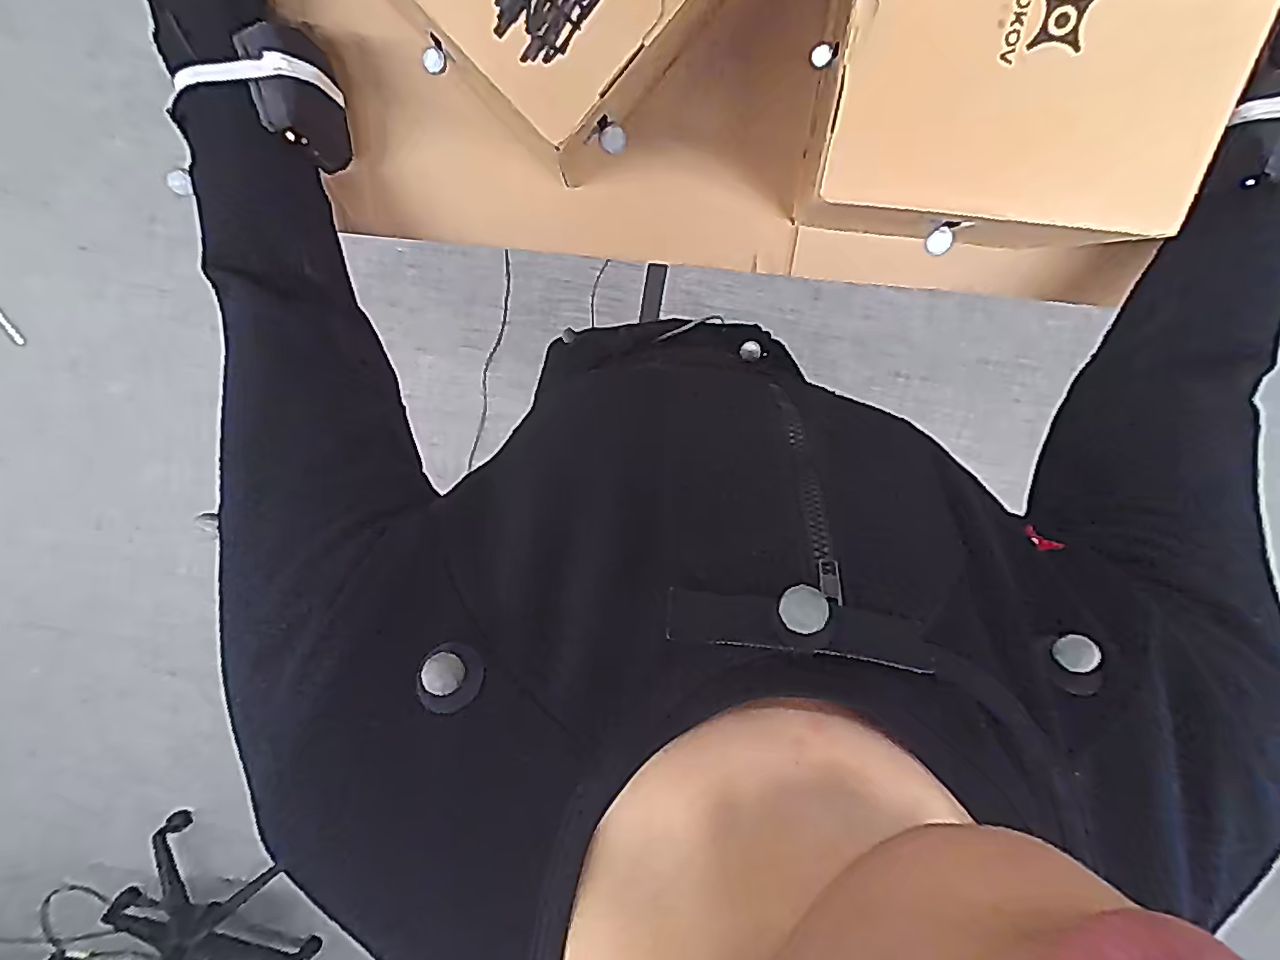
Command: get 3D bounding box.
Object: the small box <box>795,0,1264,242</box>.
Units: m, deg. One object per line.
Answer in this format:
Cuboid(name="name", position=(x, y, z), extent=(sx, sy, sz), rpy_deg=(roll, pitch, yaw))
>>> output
Cuboid(name="small box", position=(0.201, -0.242, 0.323), extent=(0.179, 0.176, 0.168), rpy_deg=(12, 113, 9))
